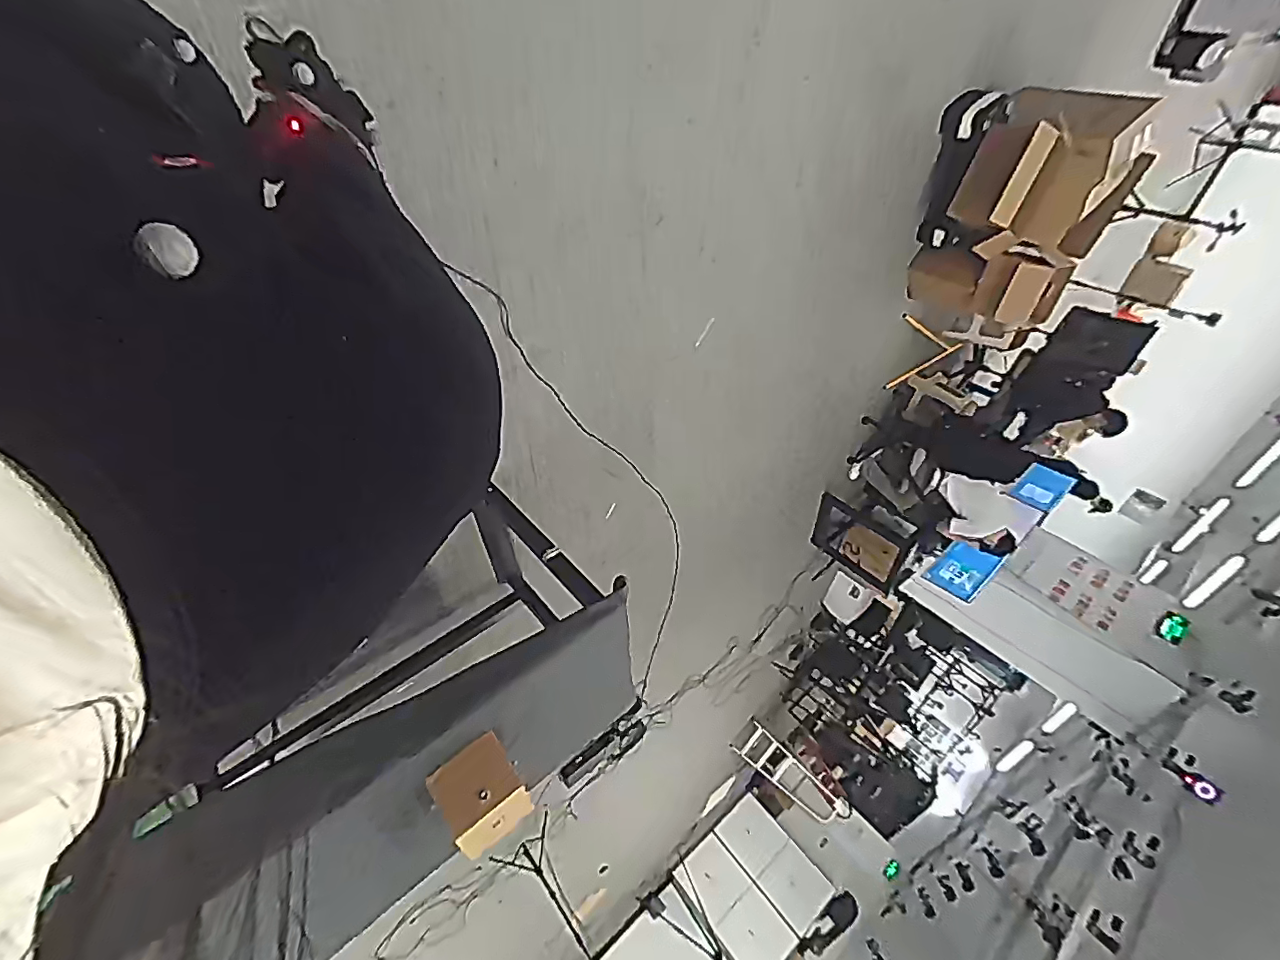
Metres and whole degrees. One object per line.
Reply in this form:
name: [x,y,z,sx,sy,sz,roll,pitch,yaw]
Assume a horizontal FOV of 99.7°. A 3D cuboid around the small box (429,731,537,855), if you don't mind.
small box: [-0.379,0.750,1.309,0.179,0.176,0.168,-31,139,-26]
